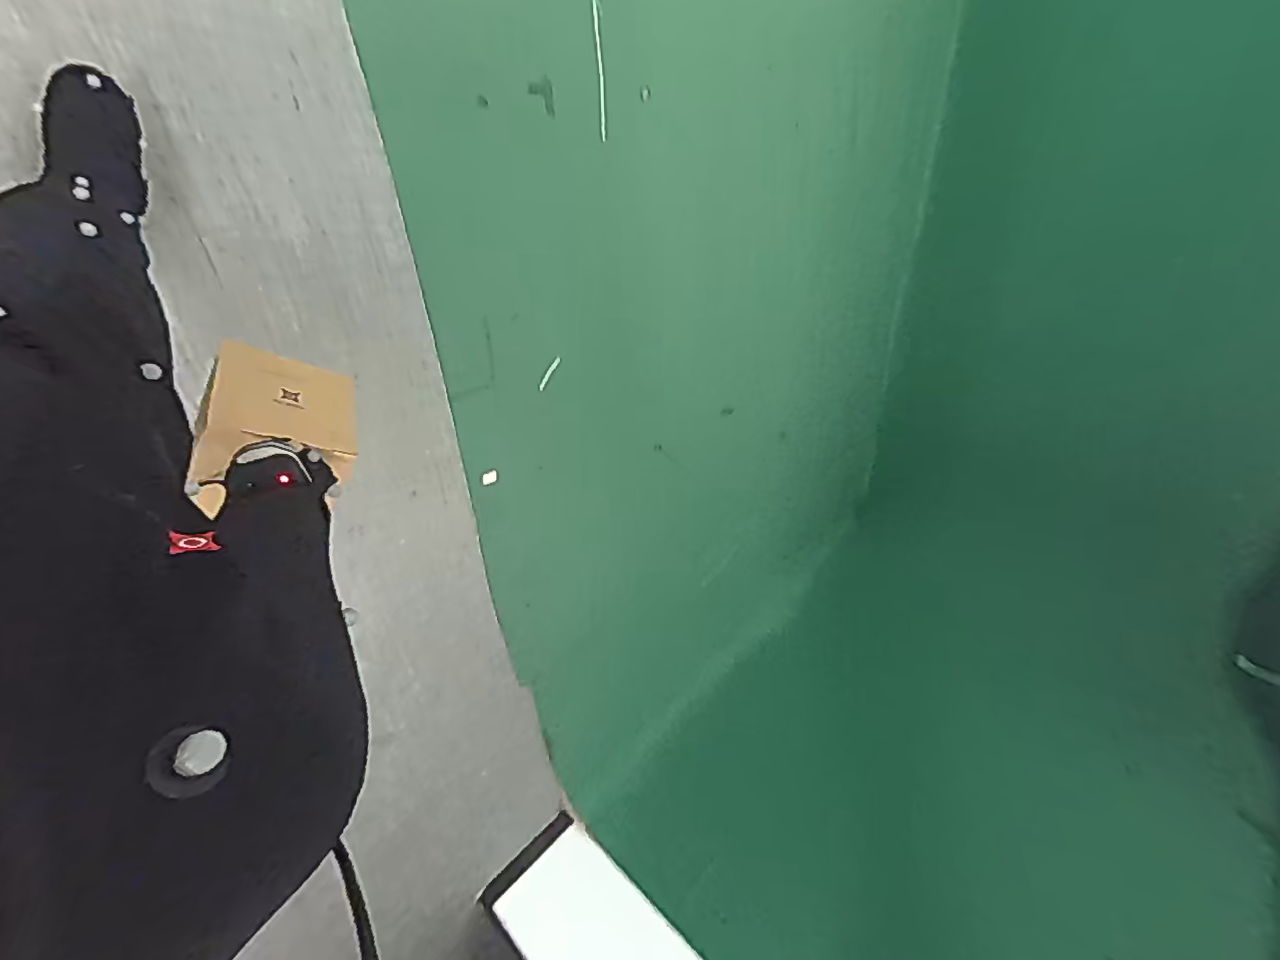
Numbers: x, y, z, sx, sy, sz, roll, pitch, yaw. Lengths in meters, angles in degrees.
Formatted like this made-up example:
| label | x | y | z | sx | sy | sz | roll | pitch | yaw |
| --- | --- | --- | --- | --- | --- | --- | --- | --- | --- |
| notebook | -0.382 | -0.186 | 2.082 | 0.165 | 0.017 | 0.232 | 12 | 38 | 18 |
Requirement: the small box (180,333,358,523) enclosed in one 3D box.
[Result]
| label | x | y | z | sx | sy | sz | roll | pitch | yaw |
| --- | --- | --- | --- | --- | --- | --- | --- | --- | --- |
| small box | -0.507 | -0.062 | 0.746 | 0.168 | 0.179 | 0.176 | 15 | 128 | -42 |
